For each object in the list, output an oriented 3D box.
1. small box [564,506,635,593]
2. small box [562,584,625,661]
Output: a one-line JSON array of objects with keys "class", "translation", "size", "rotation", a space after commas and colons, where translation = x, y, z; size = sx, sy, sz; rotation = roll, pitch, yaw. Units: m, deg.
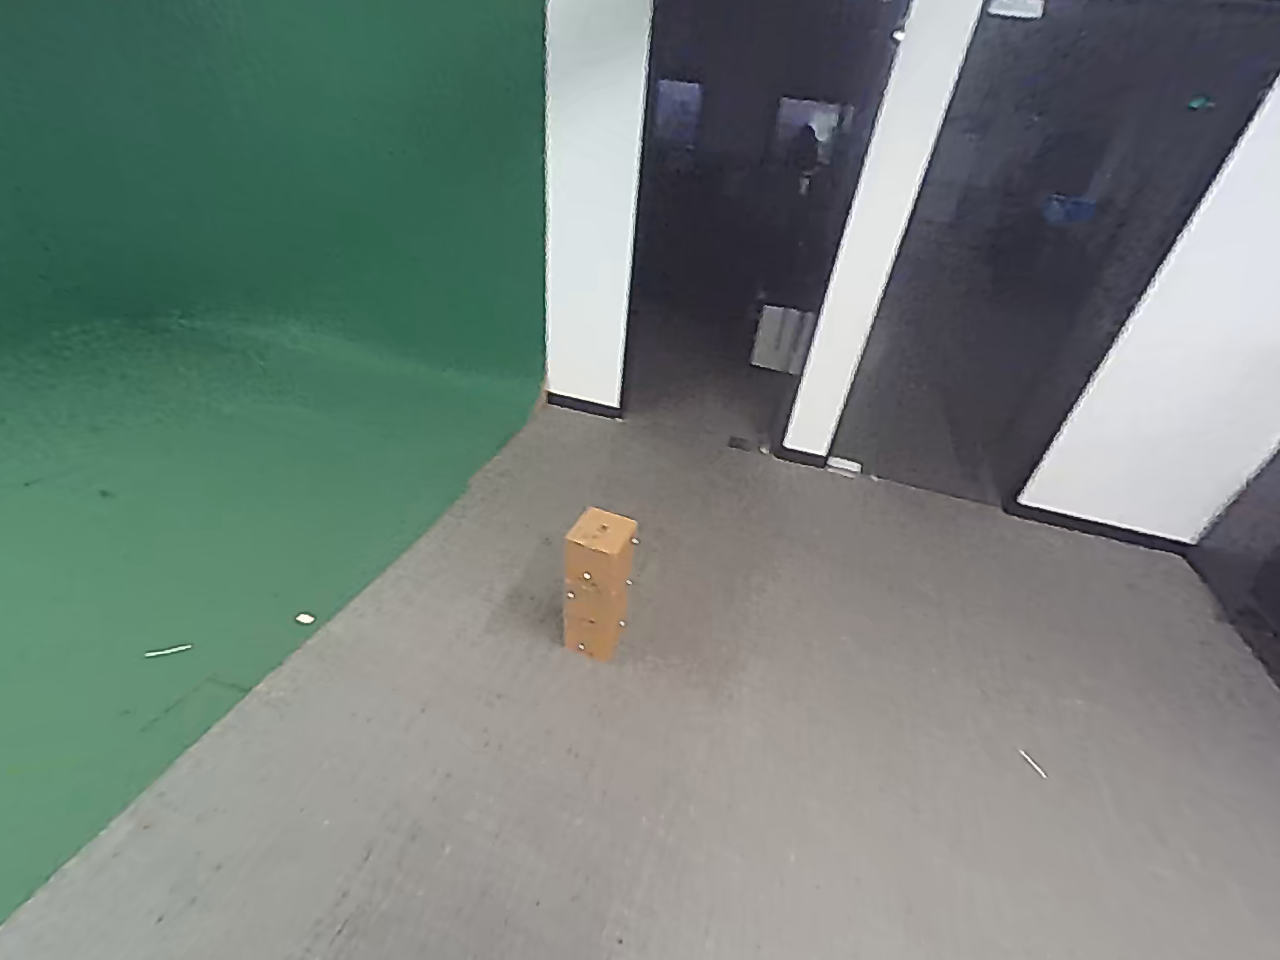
[{"class": "small box", "translation": [-0.128, 0.213, 1.672], "size": [0.168, 0.176, 0.179], "rotation": [17, 36, 14]}, {"class": "small box", "translation": [-0.164, 0.483, 1.857], "size": [0.168, 0.176, 0.179], "rotation": [15, 36, 11]}]
